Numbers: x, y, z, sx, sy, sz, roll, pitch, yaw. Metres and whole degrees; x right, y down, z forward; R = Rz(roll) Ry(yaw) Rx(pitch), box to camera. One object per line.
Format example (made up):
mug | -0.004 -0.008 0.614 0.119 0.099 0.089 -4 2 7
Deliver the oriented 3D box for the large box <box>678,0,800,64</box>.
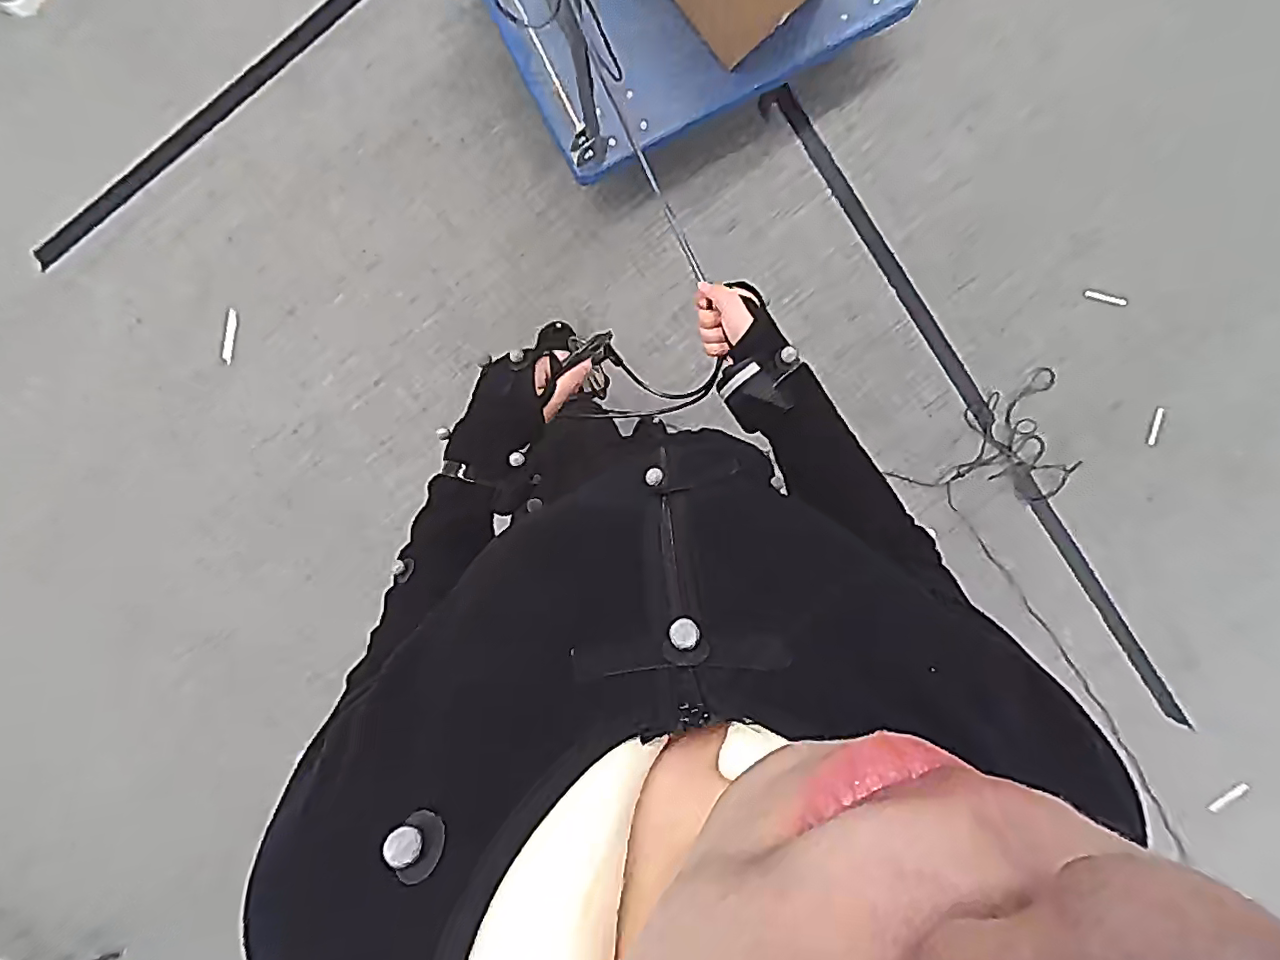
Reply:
large box | 0.183 -1.130 1.007 0.320 0.320 0.408 -42 98 4
